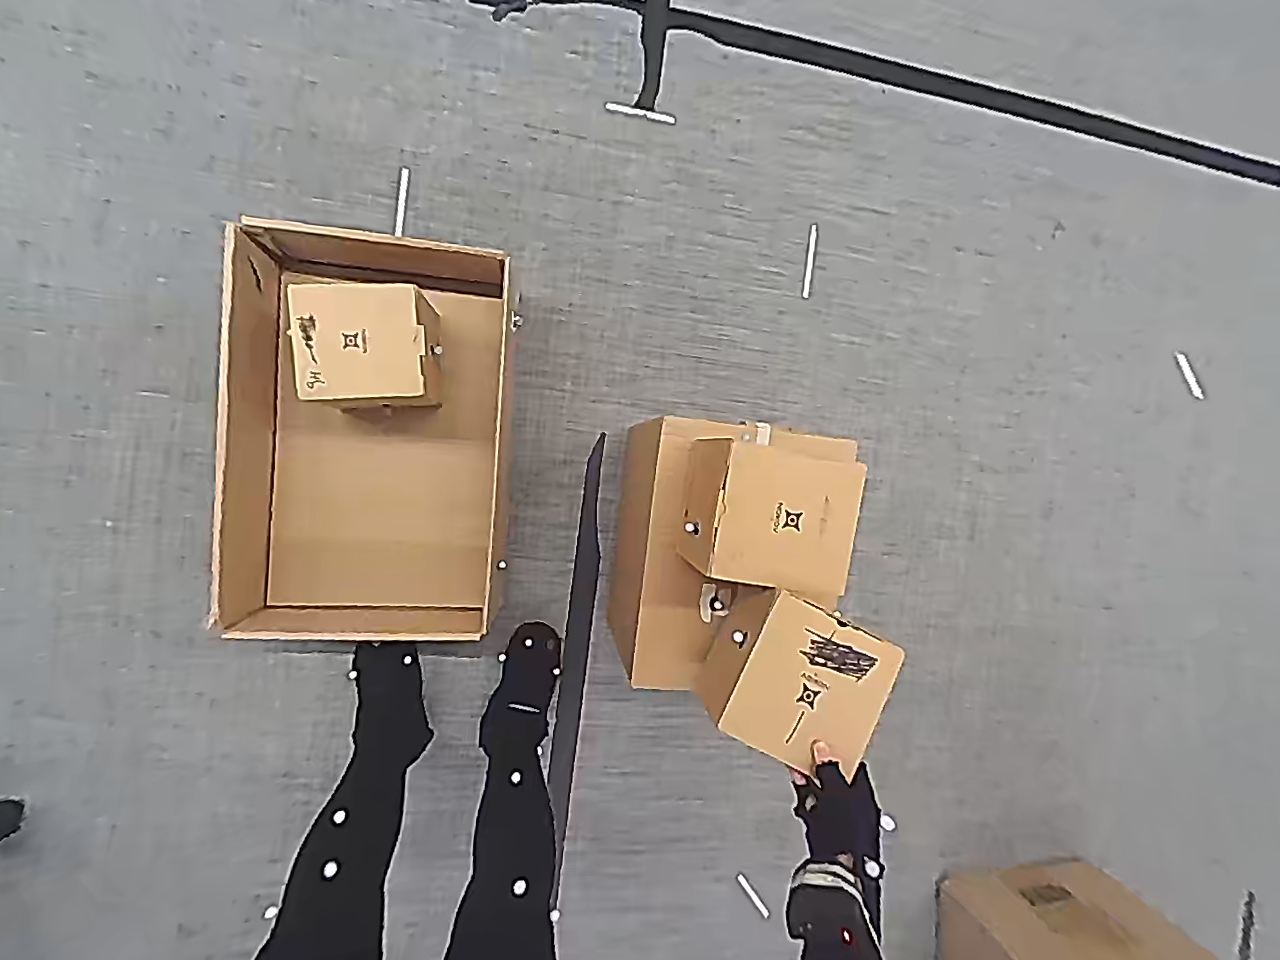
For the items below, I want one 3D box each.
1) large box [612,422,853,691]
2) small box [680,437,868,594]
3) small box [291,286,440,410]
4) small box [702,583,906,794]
[{"bbox_3d":[0.135,0.115,0.956,0.320,0.320,0.408,6,92,-9],"label":"large box"},{"bbox_3d":[0.162,0.040,0.711,0.179,0.176,0.168,9,93,-10],"label":"small box"},{"bbox_3d":[-0.422,-0.202,0.863,0.179,0.176,0.168,-3,93,-11],"label":"small box"},{"bbox_3d":[0.192,0.245,0.689,0.168,0.176,0.179,27,84,1],"label":"small box"}]
